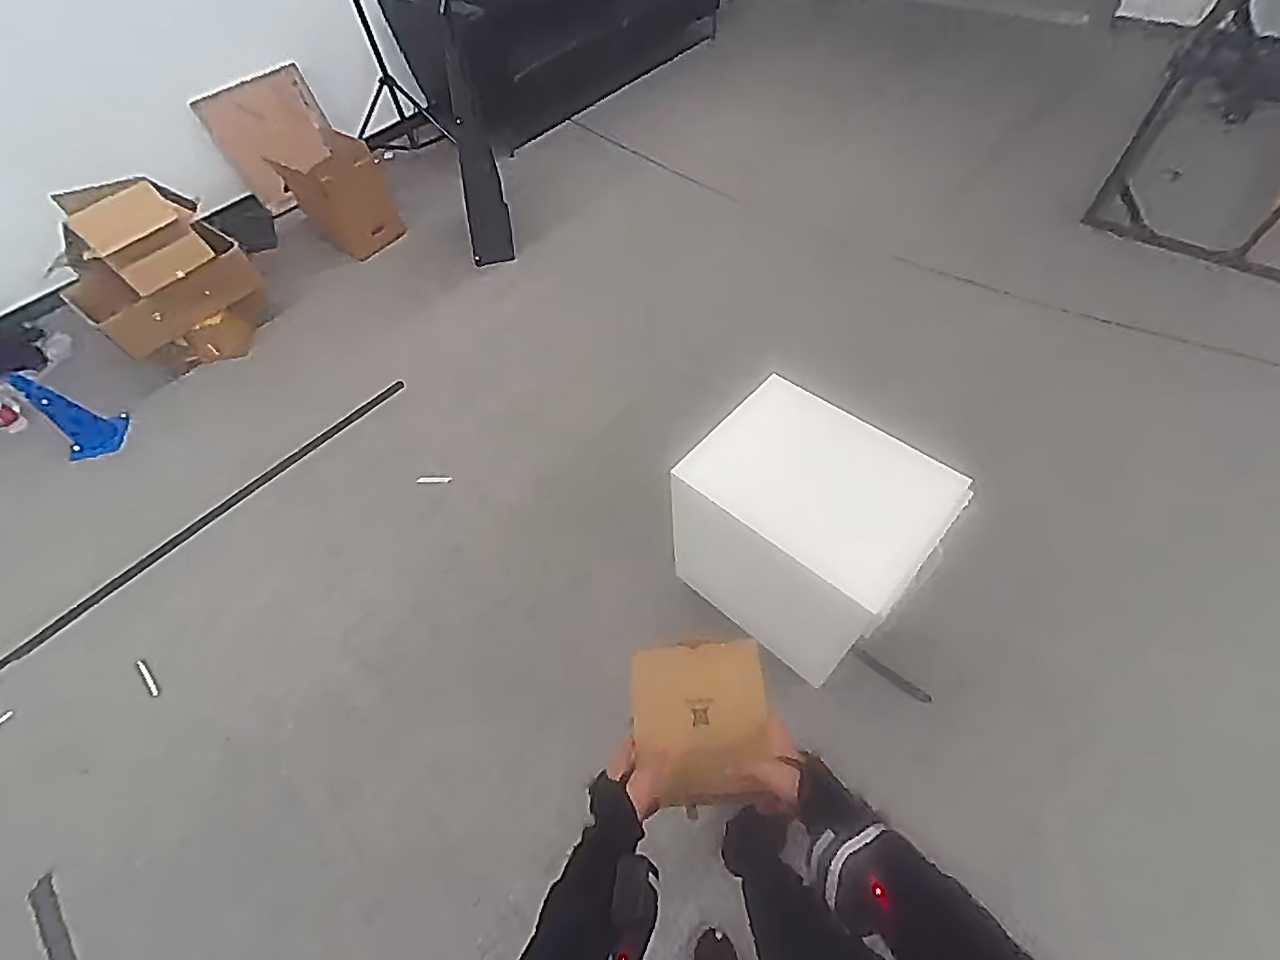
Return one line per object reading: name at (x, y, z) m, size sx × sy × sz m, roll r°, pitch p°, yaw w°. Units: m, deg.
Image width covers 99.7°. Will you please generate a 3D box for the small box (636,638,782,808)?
small box at (0.081, 0.327, 0.723) m, size 0.168 × 0.176 × 0.179 m, roll -4°, pitch 55°, yaw 2°
